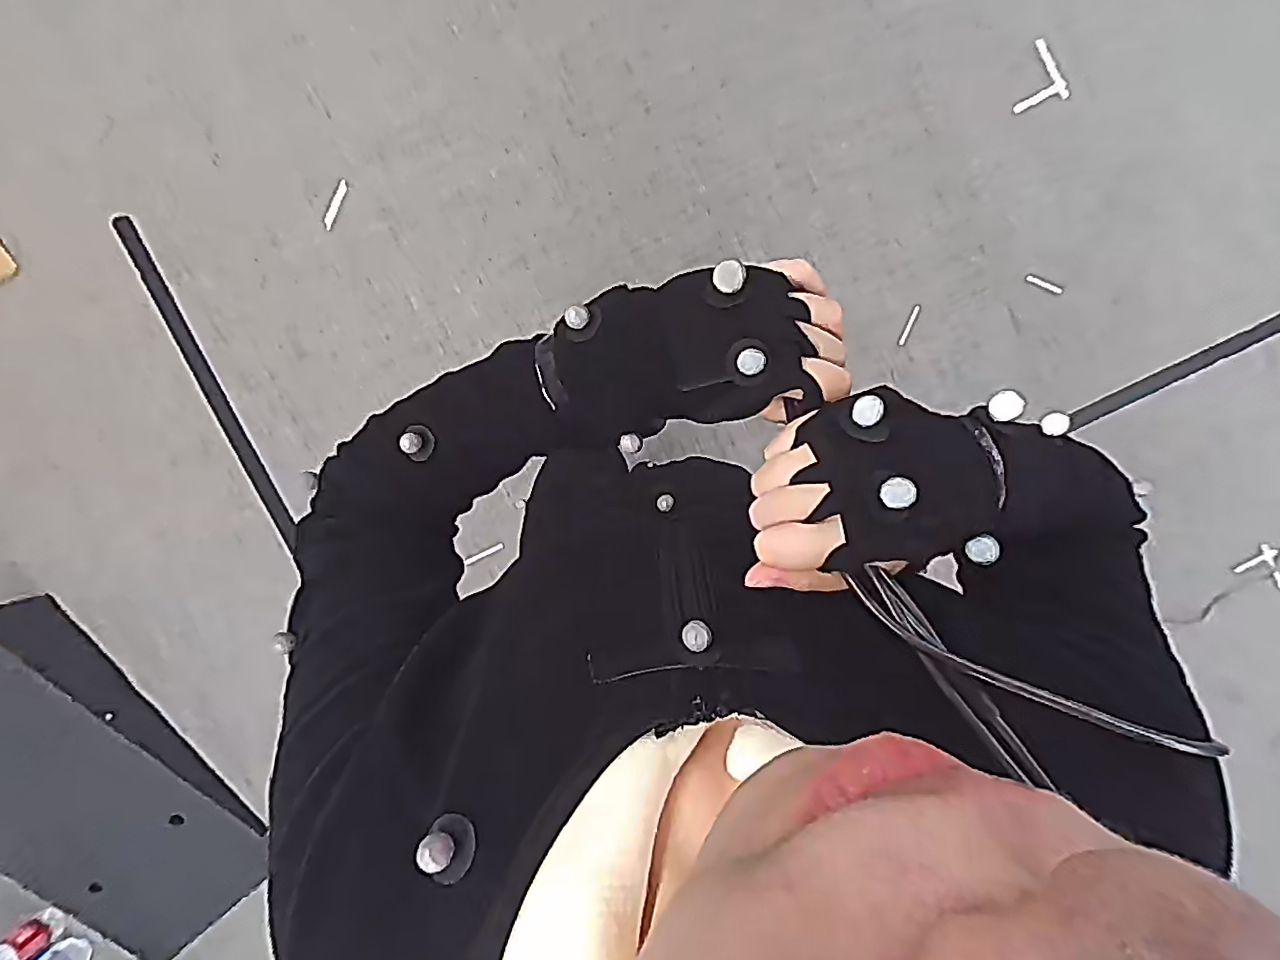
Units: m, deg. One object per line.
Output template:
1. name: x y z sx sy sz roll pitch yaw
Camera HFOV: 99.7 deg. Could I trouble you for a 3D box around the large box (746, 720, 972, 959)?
1. large box: 0.463 0.828 1.222 0.320 0.320 0.408 14 94 -2
